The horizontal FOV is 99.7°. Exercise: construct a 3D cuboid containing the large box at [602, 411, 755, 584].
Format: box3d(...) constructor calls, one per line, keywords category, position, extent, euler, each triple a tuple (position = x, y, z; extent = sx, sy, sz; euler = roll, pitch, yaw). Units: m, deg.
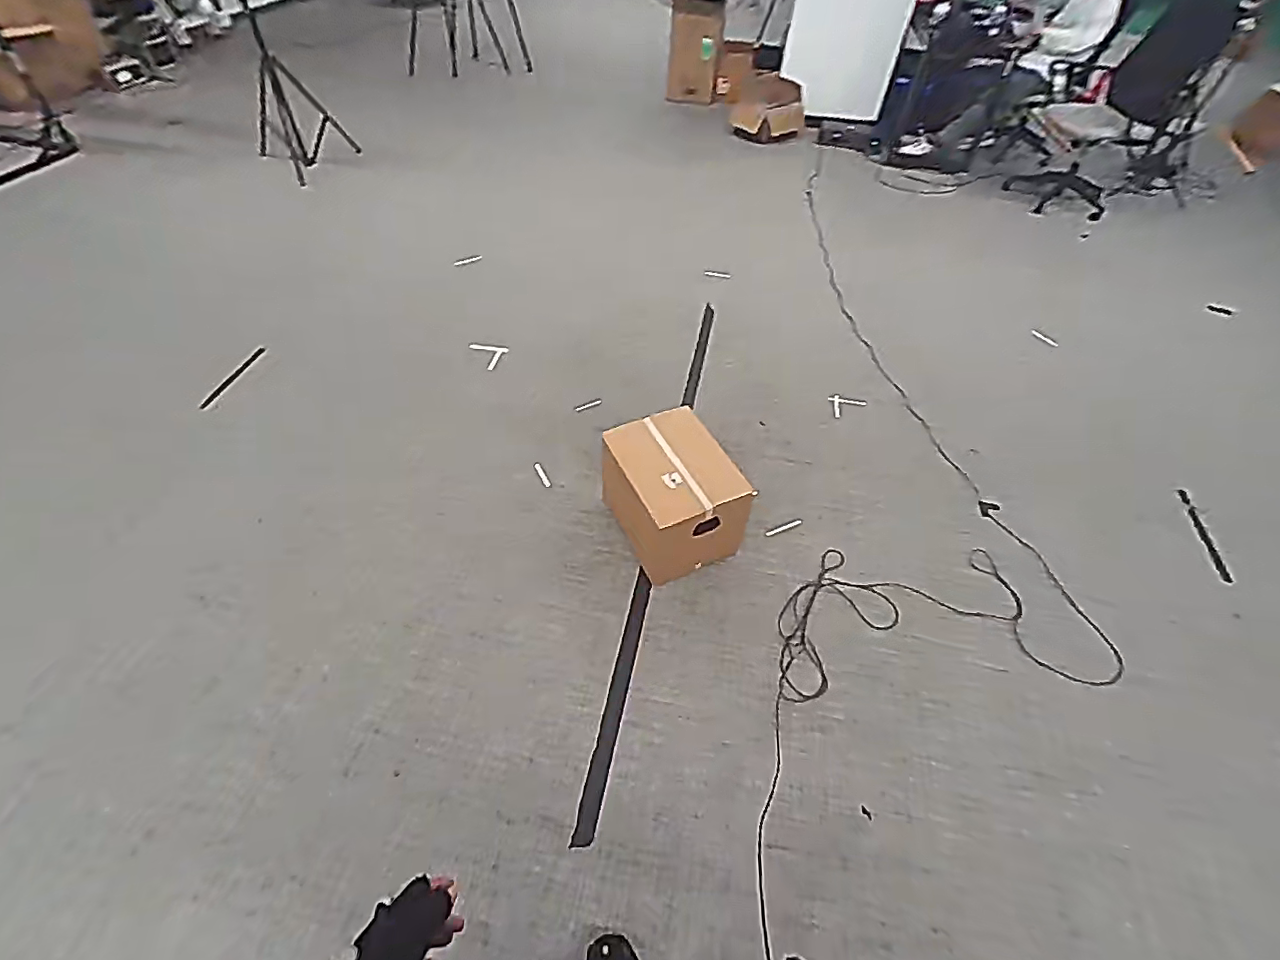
box3d(category="large box", position=(0.098, 0.049, 1.724), extent=(0.320, 0.320, 0.408), euler=(-19, 54, -18))
